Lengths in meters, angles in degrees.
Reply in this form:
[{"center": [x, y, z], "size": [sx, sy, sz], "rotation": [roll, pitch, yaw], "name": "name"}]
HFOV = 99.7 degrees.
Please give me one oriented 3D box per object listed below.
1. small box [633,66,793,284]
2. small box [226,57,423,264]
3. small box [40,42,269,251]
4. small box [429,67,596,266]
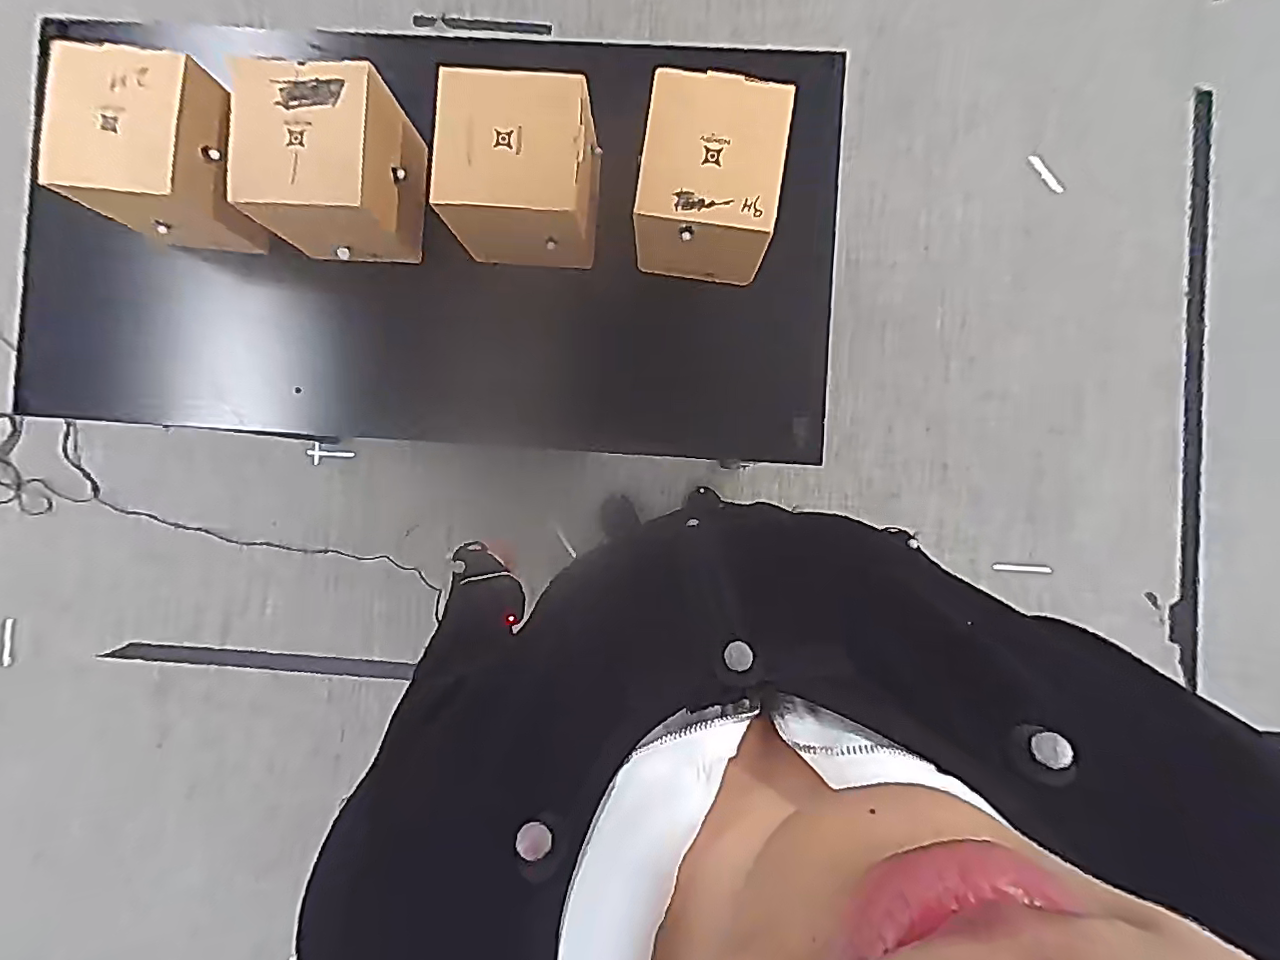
[{"center": [0.086, -0.382, 0.705], "size": [0.168, 0.176, 0.179], "rotation": [9, 89, 2], "name": "small box"}, {"center": [-0.403, -0.410, 0.719], "size": [0.168, 0.176, 0.179], "rotation": [2, 91, 1], "name": "small box"}, {"center": [-0.626, -0.430, 0.726], "size": [0.168, 0.176, 0.179], "rotation": [6, 89, 1], "name": "small box"}, {"center": [-0.155, -0.398, 0.714], "size": [0.179, 0.176, 0.168], "rotation": [3, 88, 2], "name": "small box"}]
